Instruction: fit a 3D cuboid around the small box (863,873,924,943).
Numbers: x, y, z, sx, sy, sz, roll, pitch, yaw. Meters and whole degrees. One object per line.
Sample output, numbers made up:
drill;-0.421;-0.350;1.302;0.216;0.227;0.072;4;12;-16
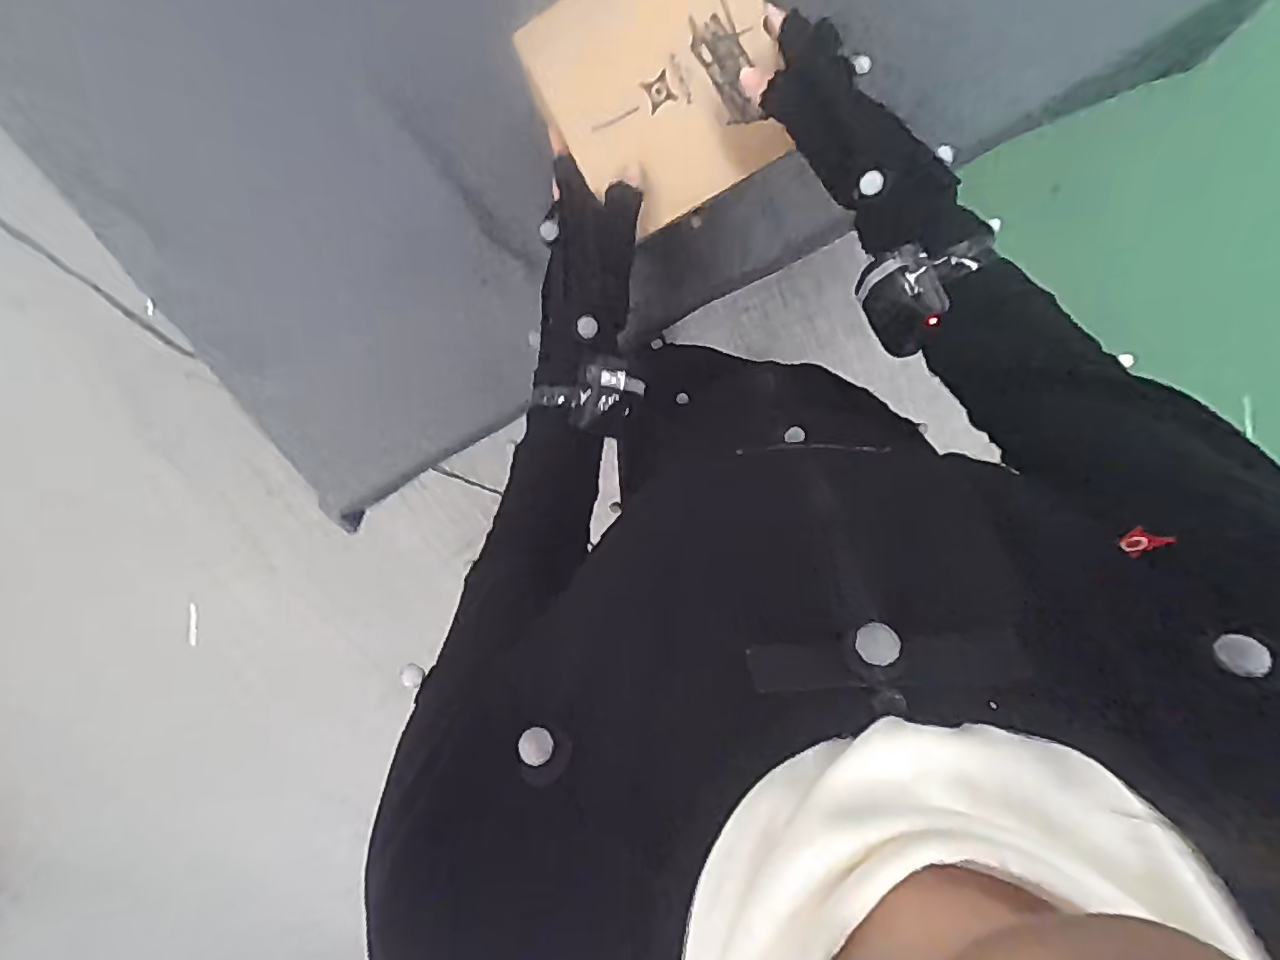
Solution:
small box;0.996;1.687;2.104;0.179;0.176;0.168;-29;111;5

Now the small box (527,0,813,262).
small box;0.020;-0.319;0.490;0.179;0.176;0.168;-31;110;6
